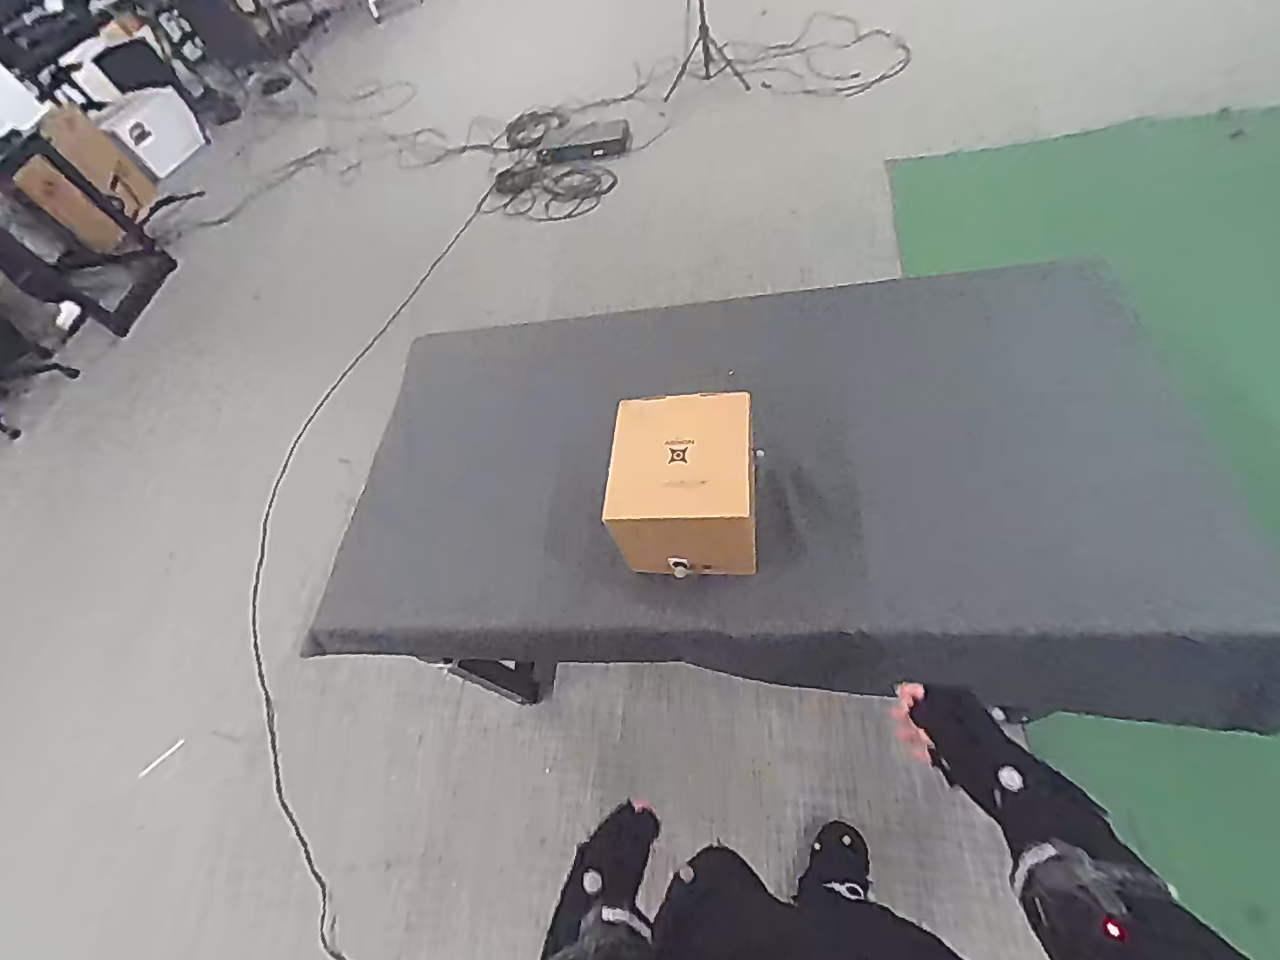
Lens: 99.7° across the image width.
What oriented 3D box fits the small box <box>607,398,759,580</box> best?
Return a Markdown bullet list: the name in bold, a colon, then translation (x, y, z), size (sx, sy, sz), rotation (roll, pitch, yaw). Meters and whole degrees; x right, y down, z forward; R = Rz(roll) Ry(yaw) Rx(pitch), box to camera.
- **small box**: translation (0.066, 0.017, 0.706), size (0.168, 0.176, 0.179), rotation (-3, 58, 14)
